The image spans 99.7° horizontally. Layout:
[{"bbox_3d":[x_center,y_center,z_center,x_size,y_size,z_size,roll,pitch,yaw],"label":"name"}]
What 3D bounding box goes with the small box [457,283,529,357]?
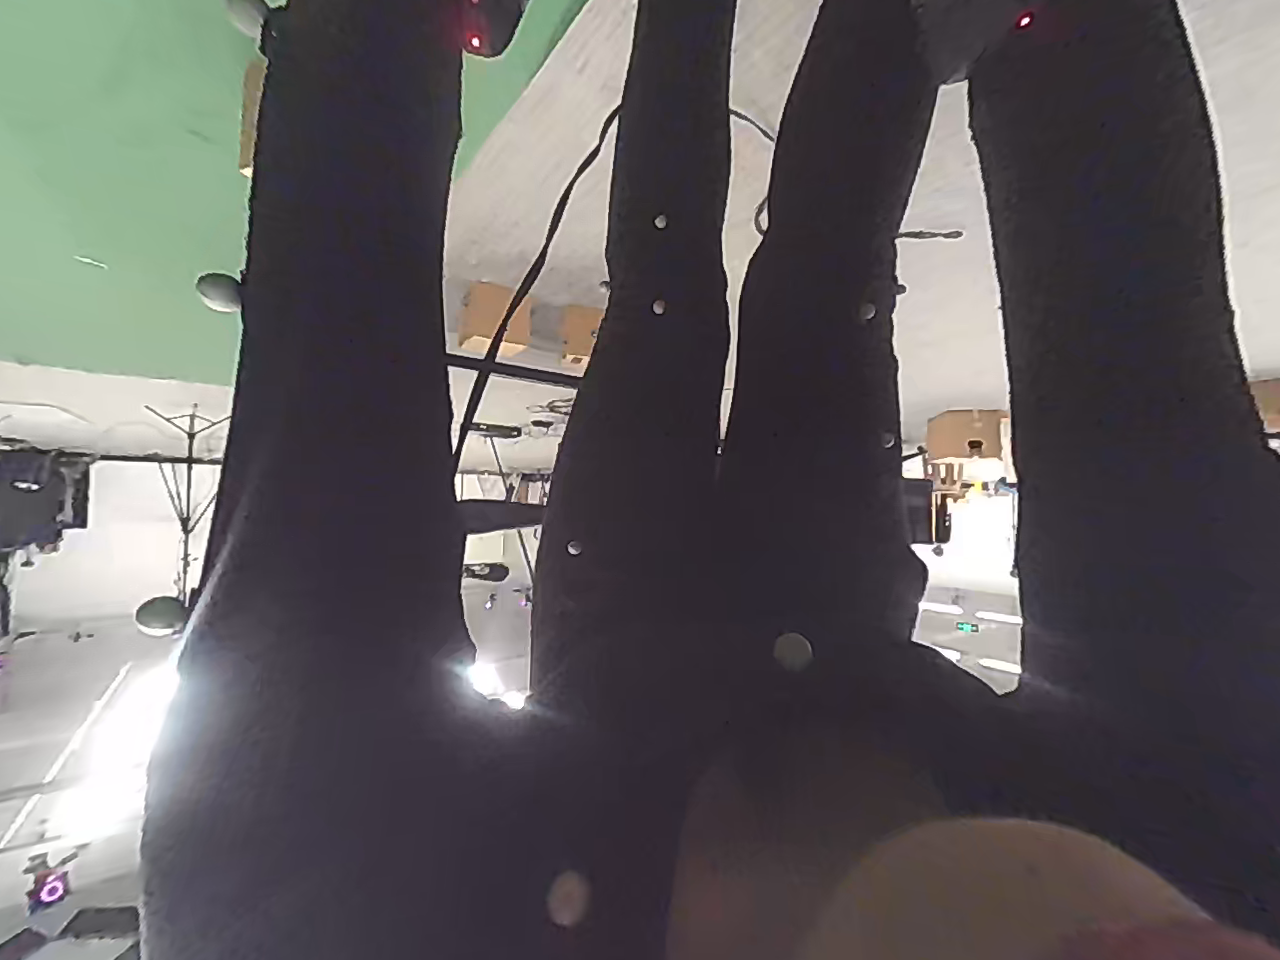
[{"bbox_3d":[-0.461,-0.499,1.697,0.179,0.176,0.168,3,176,-35],"label":"small box"}]
